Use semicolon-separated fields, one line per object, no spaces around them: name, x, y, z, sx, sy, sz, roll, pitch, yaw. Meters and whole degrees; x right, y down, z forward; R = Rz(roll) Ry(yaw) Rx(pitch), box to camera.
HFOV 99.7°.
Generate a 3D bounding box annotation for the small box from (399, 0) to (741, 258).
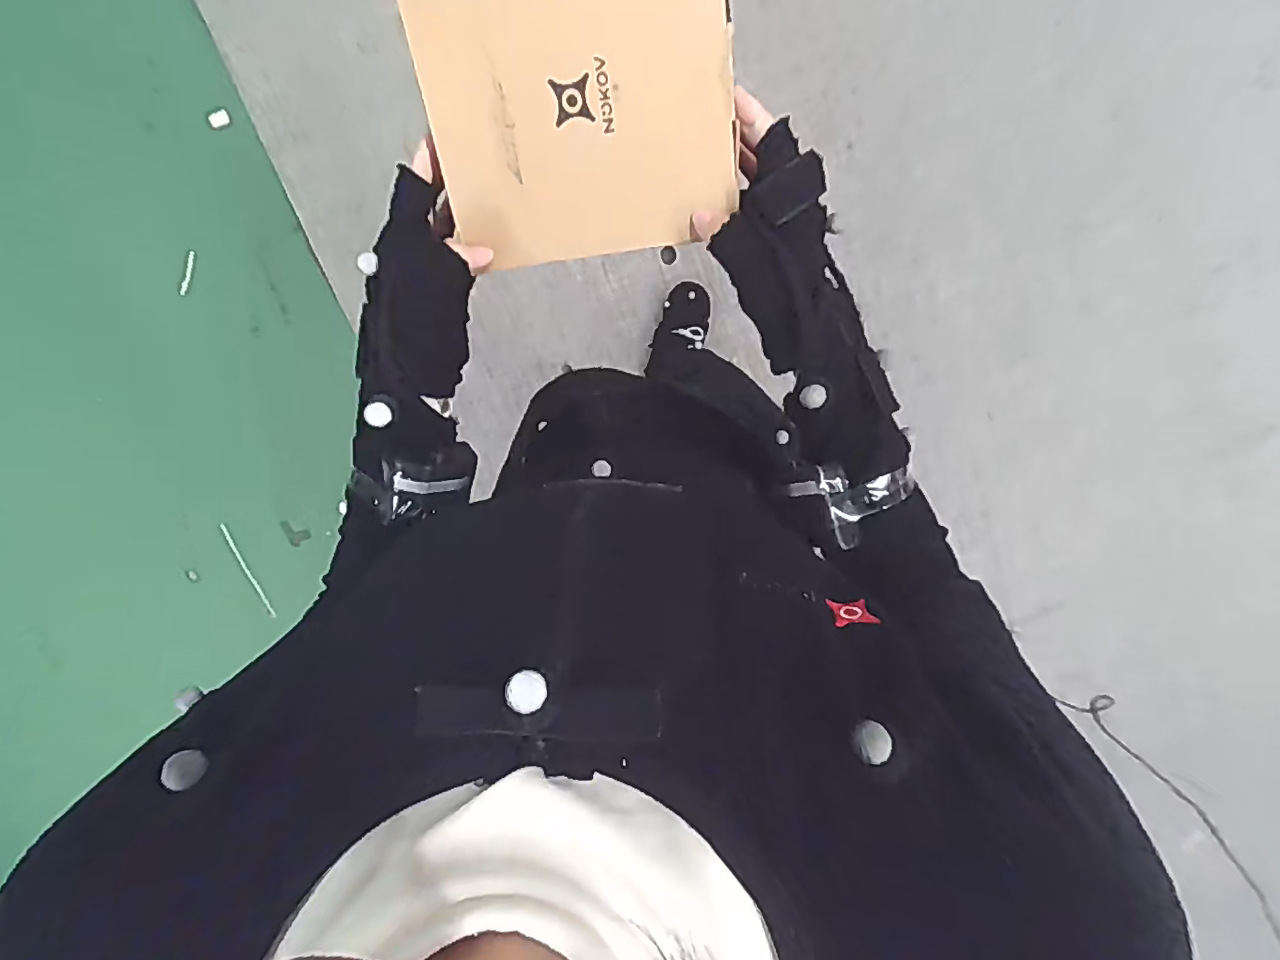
small box;-0.034;-0.259;0.373;0.179;0.176;0.168;-8;115;6
